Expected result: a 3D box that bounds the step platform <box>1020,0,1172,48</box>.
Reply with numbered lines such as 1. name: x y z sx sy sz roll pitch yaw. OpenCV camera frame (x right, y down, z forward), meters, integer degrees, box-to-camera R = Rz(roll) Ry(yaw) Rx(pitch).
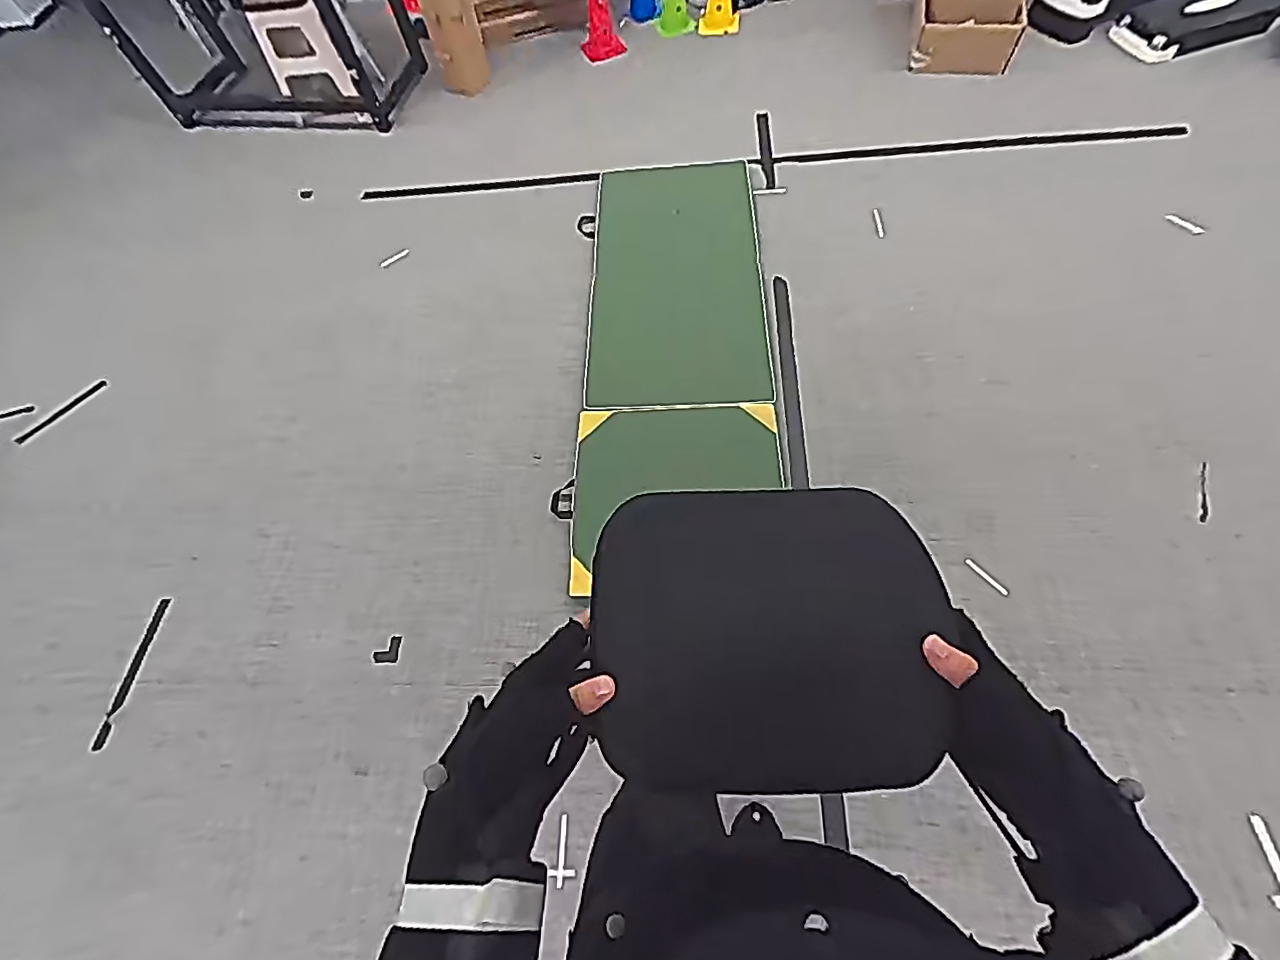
1. step platform: 2.110 -2.212 2.435 0.684 0.204 0.286 -27 64 -8
